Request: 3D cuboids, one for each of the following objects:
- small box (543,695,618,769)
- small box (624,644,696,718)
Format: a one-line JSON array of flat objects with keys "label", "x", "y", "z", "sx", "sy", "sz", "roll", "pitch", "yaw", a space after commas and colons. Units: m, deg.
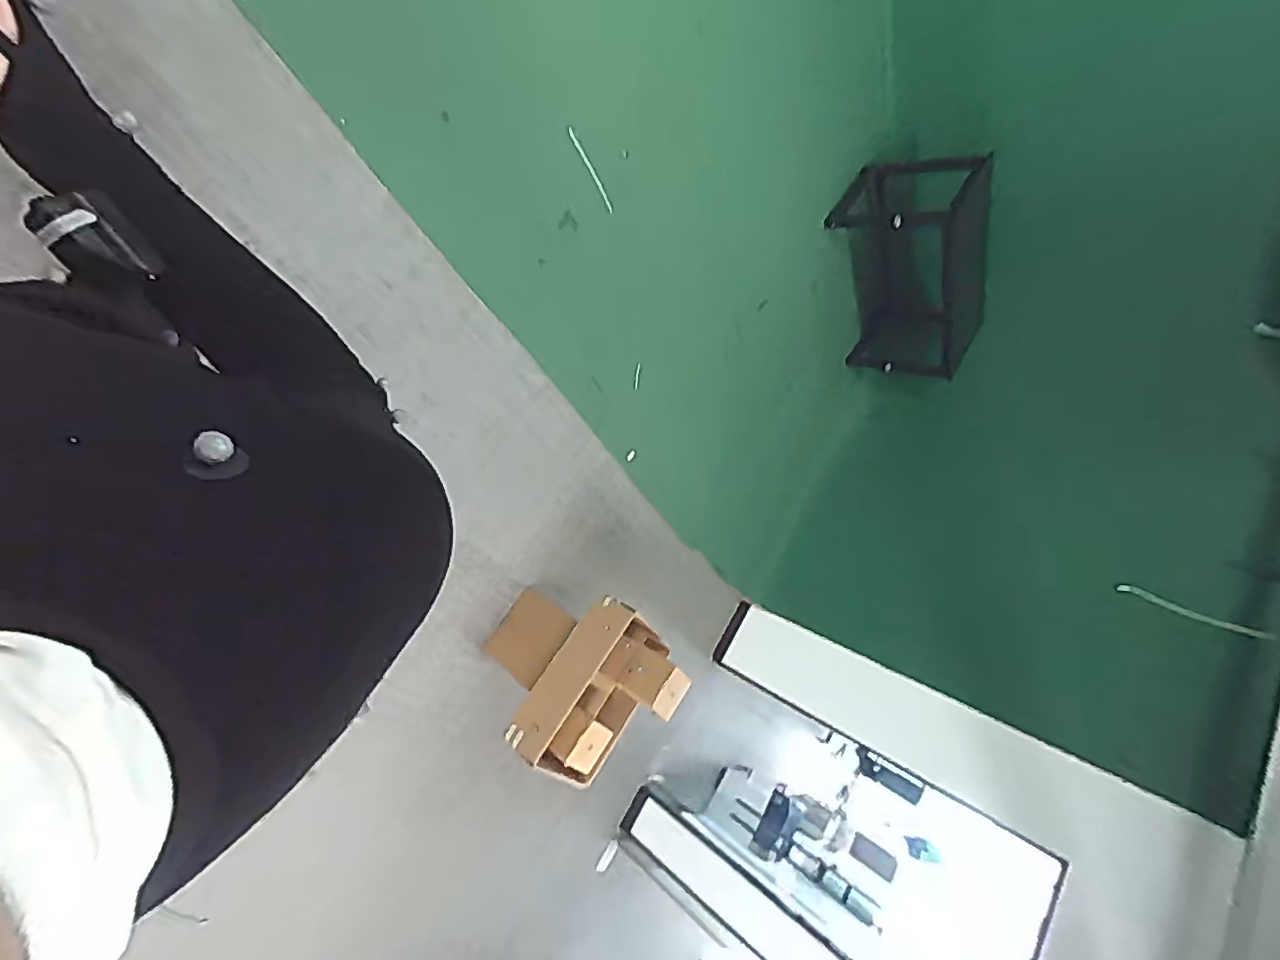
[{"label": "small box", "x": -0.220, "y": 0.920, "z": 1.986, "sx": 0.168, "sy": 0.176, "sz": 0.179, "roll": -53, "pitch": 137, "yaw": -18}, {"label": "small box", "x": 0.073, "y": 0.729, "z": 1.972, "sx": 0.168, "sy": 0.176, "sz": 0.179, "roll": -52, "pitch": 138, "yaw": -20}]
